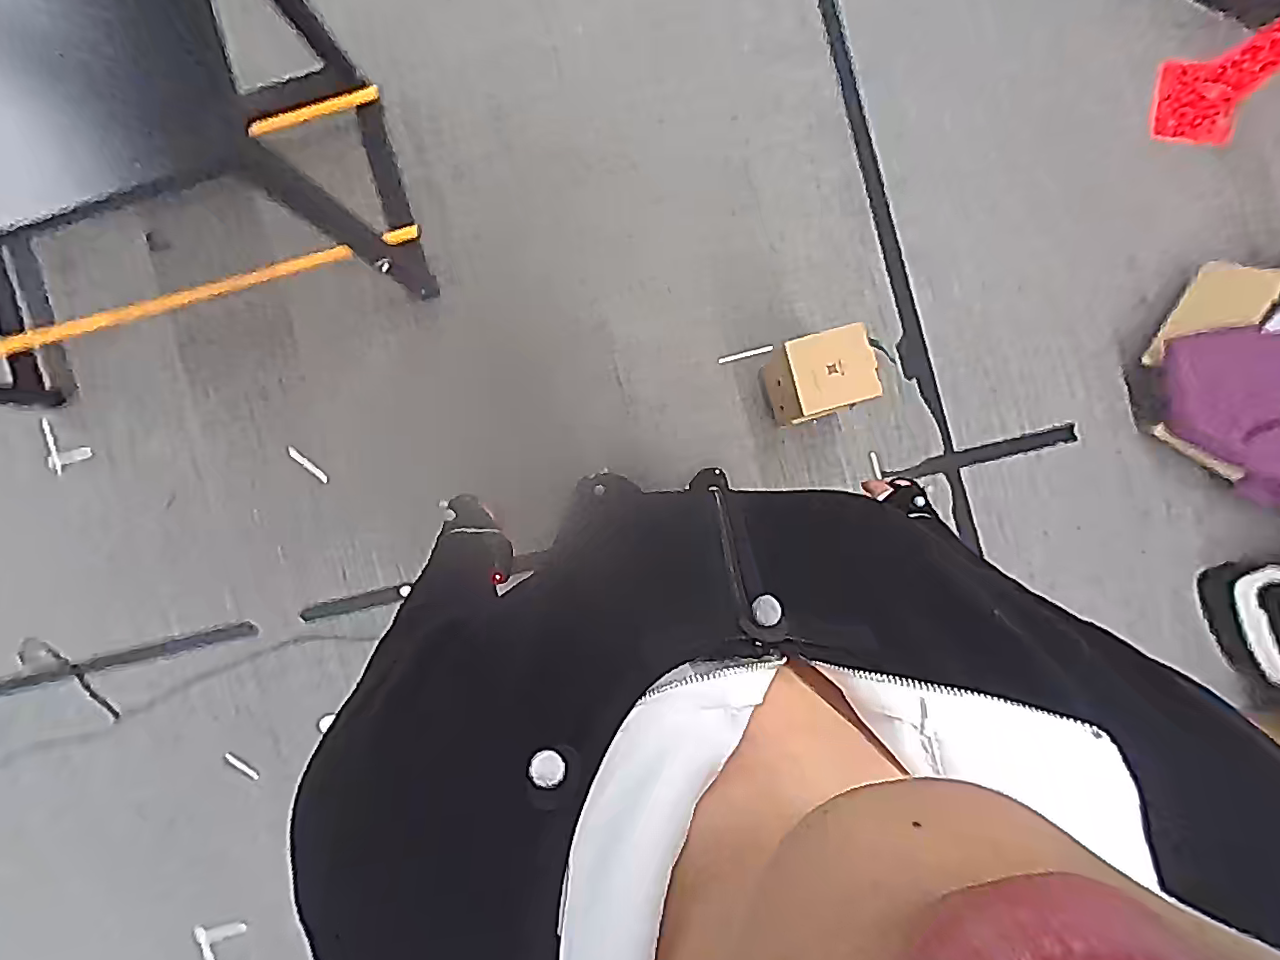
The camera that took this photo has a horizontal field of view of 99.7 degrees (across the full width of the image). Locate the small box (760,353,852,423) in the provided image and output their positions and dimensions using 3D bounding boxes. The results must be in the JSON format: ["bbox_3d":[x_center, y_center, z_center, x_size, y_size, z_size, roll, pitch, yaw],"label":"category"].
[{"bbox_3d":[0.422,-0.250,1.399,0.168,0.176,0.179,-16,91,2],"label":"small box"}]

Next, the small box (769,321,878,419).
[{"bbox_3d":[0.411,-0.244,1.237,0.179,0.176,0.168,-15,90,4],"label":"small box"}]
